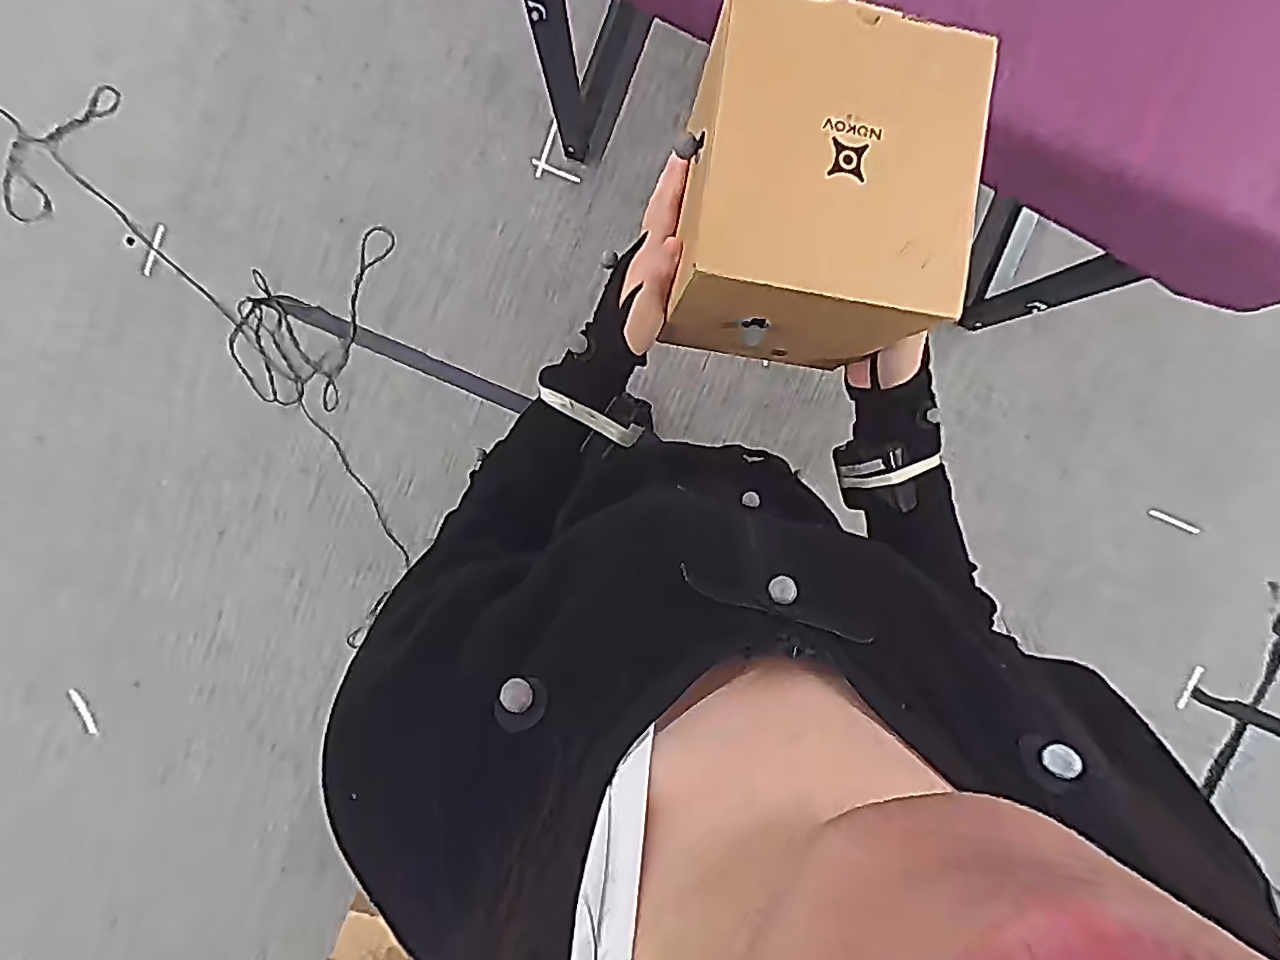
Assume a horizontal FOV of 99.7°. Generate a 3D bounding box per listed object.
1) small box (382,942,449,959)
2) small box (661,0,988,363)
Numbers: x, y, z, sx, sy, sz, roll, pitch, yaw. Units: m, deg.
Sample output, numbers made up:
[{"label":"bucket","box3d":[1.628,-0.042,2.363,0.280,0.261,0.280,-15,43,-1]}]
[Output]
[{"label":"small box","box3d":[-0.552,1.225,1.233,0.168,0.176,0.179,19,94,-3]},{"label":"small box","box3d":[0.114,-0.196,0.402,0.168,0.176,0.179,8,89,-6]}]
